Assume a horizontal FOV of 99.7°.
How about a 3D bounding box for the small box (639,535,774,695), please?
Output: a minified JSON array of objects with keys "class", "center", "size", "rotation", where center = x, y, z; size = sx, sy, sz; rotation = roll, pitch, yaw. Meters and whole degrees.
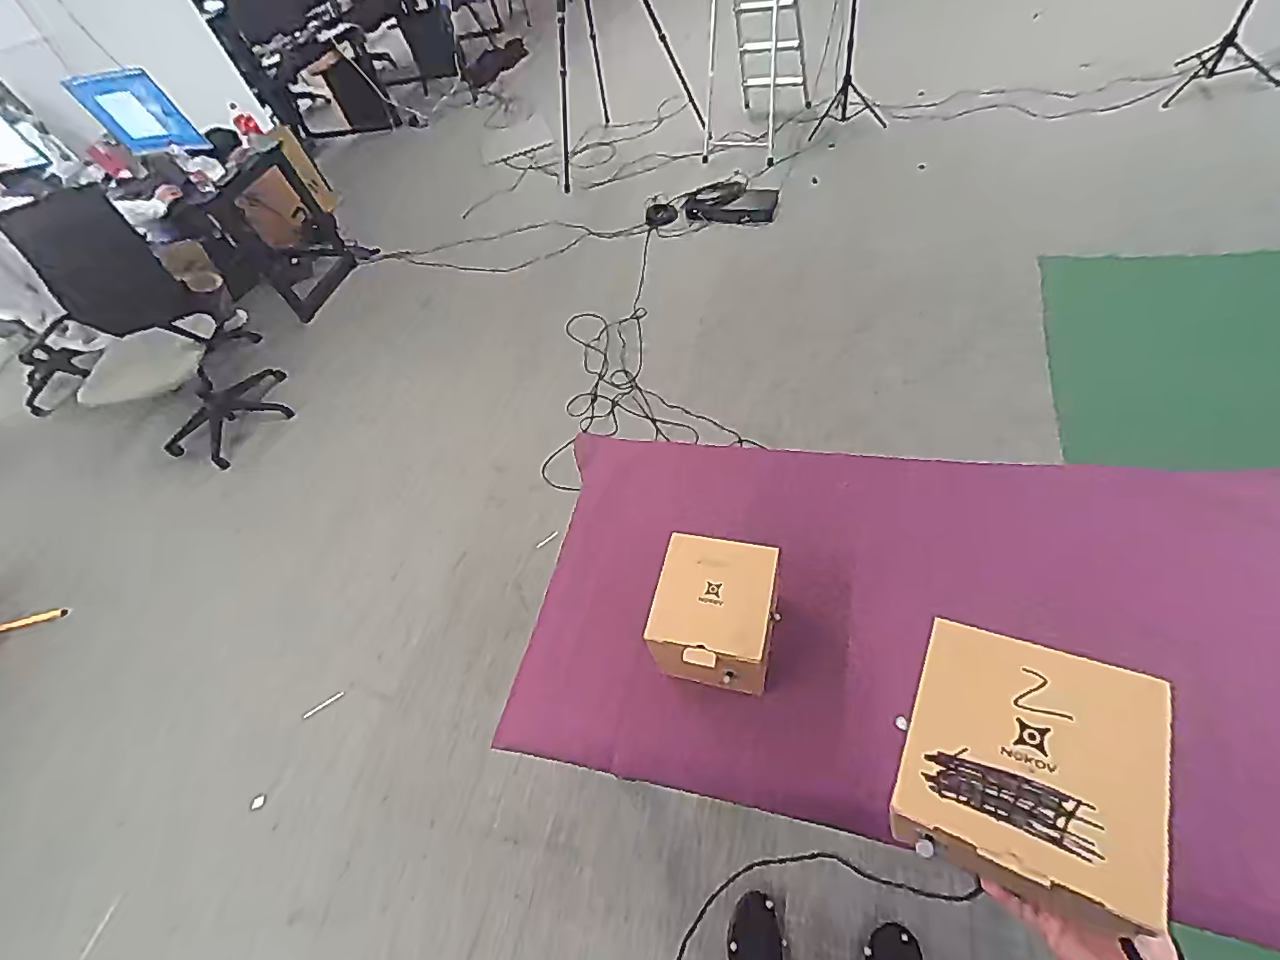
[{"class":"small box","center":[0.113,0.213,0.840],"size":[0.168,0.176,0.179],"rotation":[8,55,18]}]
